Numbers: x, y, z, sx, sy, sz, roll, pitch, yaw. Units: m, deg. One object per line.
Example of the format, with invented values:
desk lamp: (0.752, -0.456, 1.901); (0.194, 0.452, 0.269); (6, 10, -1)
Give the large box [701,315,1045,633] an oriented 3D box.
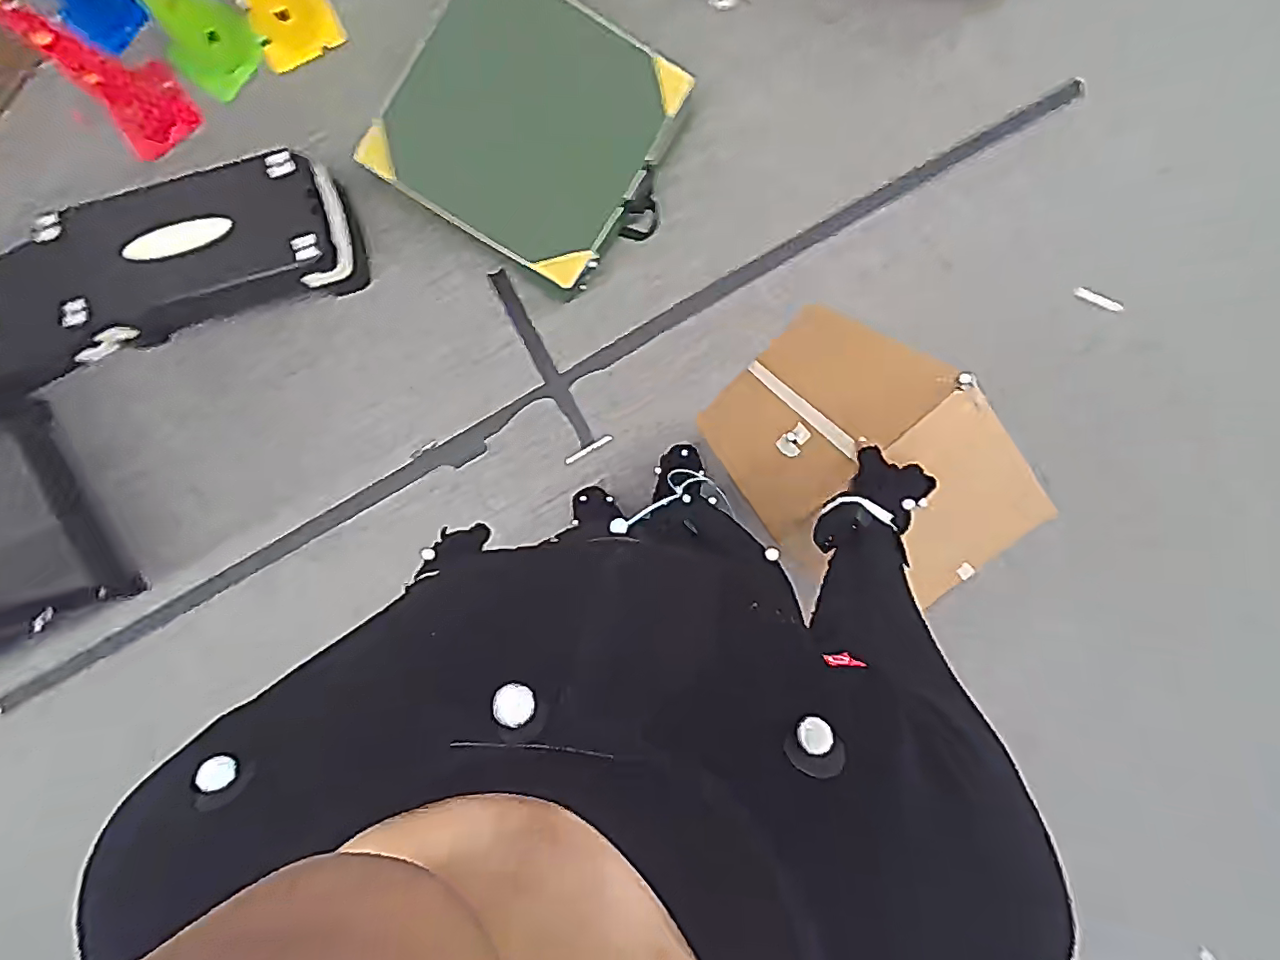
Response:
large box: (0.365, -0.025, 0.935); (0.320, 0.408, 0.320); (37, 107, -29)
